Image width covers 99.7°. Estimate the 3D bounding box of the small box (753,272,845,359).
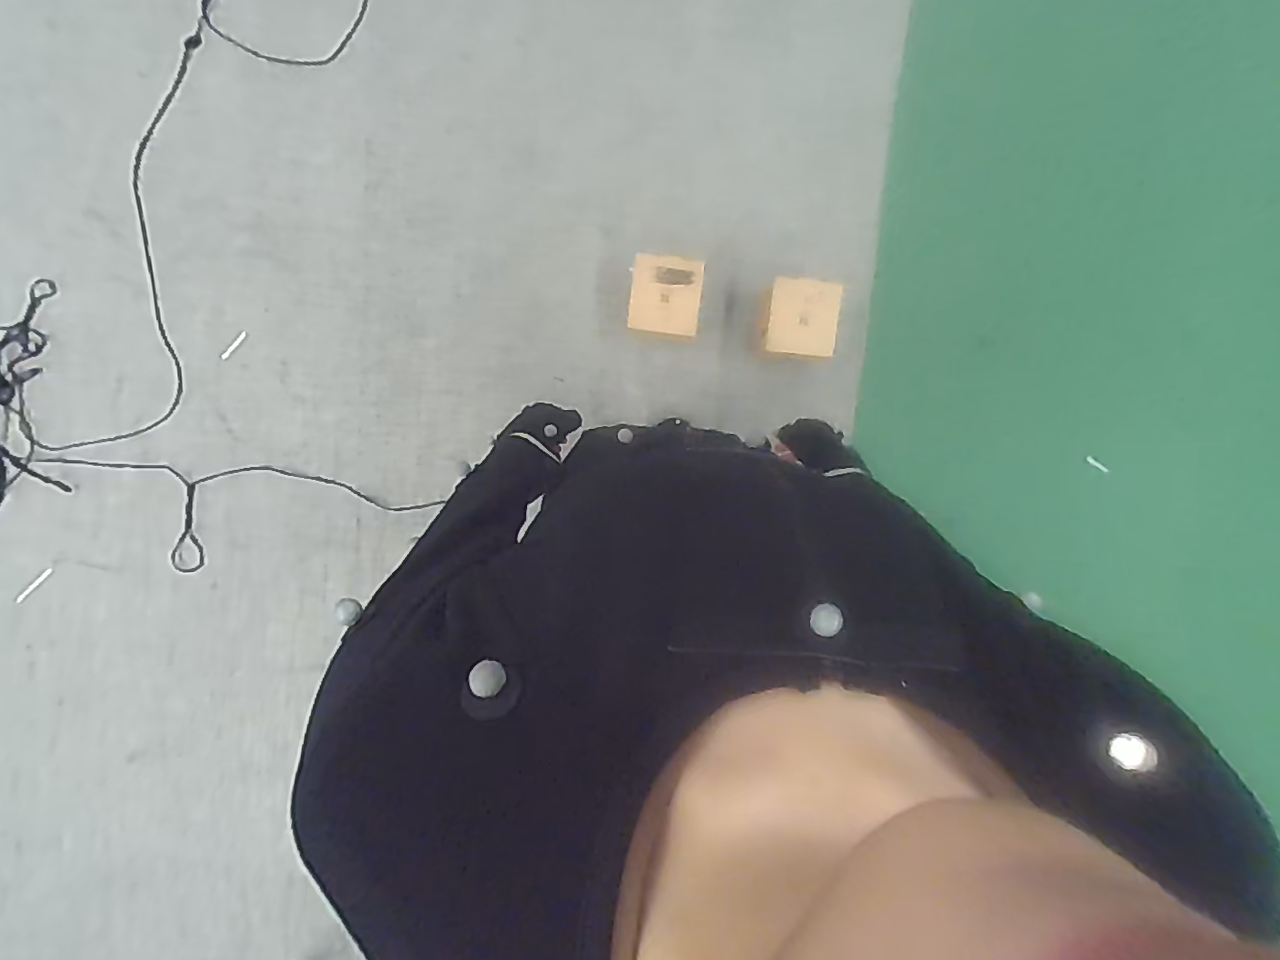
[{"bbox_3d":[0.387,-0.402,1.348,0.168,0.176,0.179,5,97,-2],"label":"small box"}]
